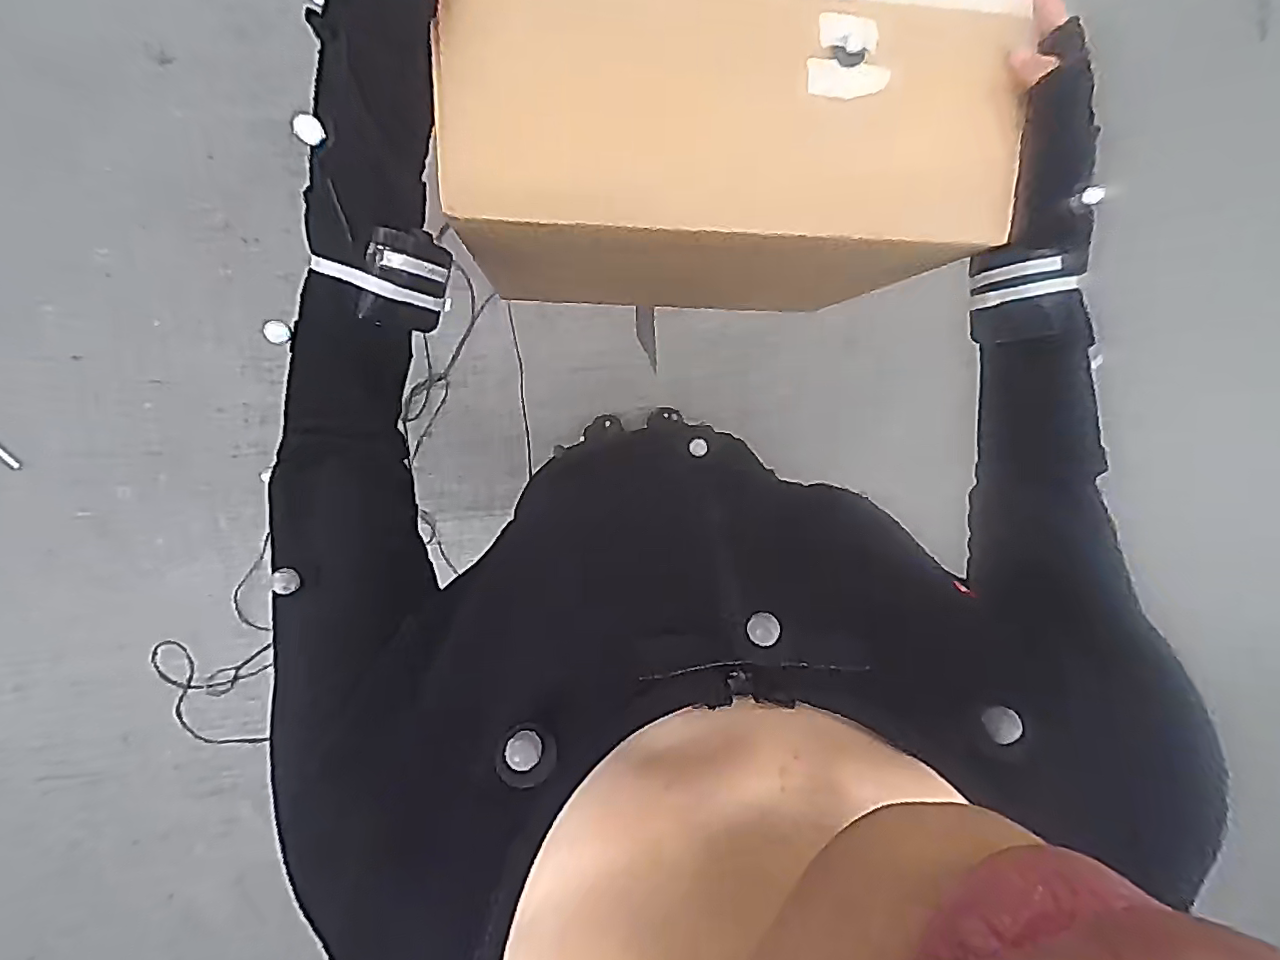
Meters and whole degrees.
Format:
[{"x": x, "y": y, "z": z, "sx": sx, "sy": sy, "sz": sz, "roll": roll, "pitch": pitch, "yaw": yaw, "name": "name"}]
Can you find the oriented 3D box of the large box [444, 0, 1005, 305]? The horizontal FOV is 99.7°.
[{"x": 0.047, "y": -0.354, "z": 0.516, "sx": 0.408, "sy": 0.320, "sz": 0.320, "roll": -1, "pitch": 98, "yaw": -8, "name": "large box"}]
